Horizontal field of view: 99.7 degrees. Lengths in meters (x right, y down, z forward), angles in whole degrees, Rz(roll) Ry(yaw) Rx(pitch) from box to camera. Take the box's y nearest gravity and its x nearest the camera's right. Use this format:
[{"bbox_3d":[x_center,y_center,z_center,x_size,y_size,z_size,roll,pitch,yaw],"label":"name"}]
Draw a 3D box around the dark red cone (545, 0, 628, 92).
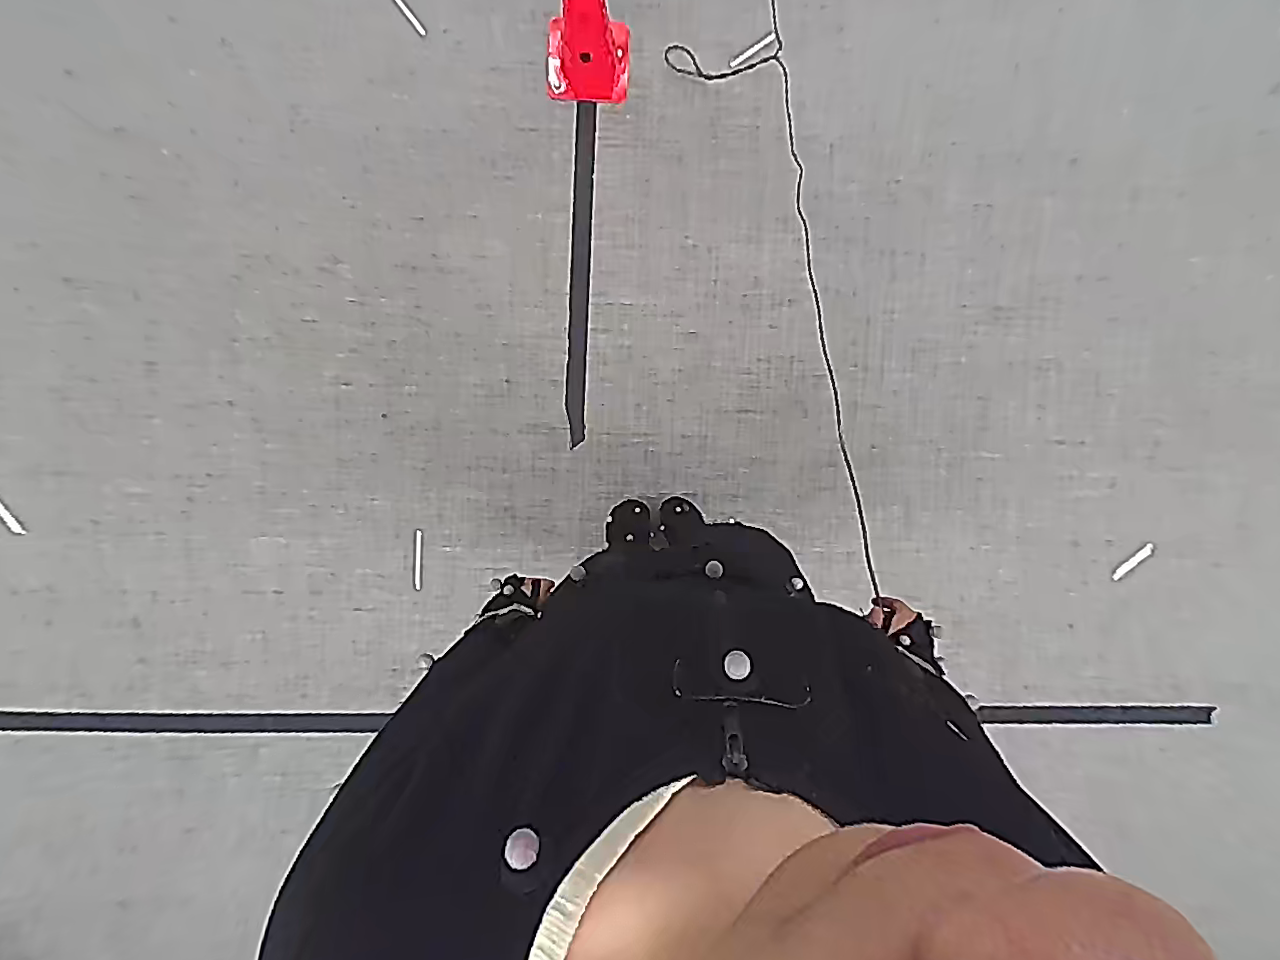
[{"bbox_3d":[-0.121,-1.046,1.153,0.201,0.394,0.202,1,91,-4],"label":"dark red cone"}]
